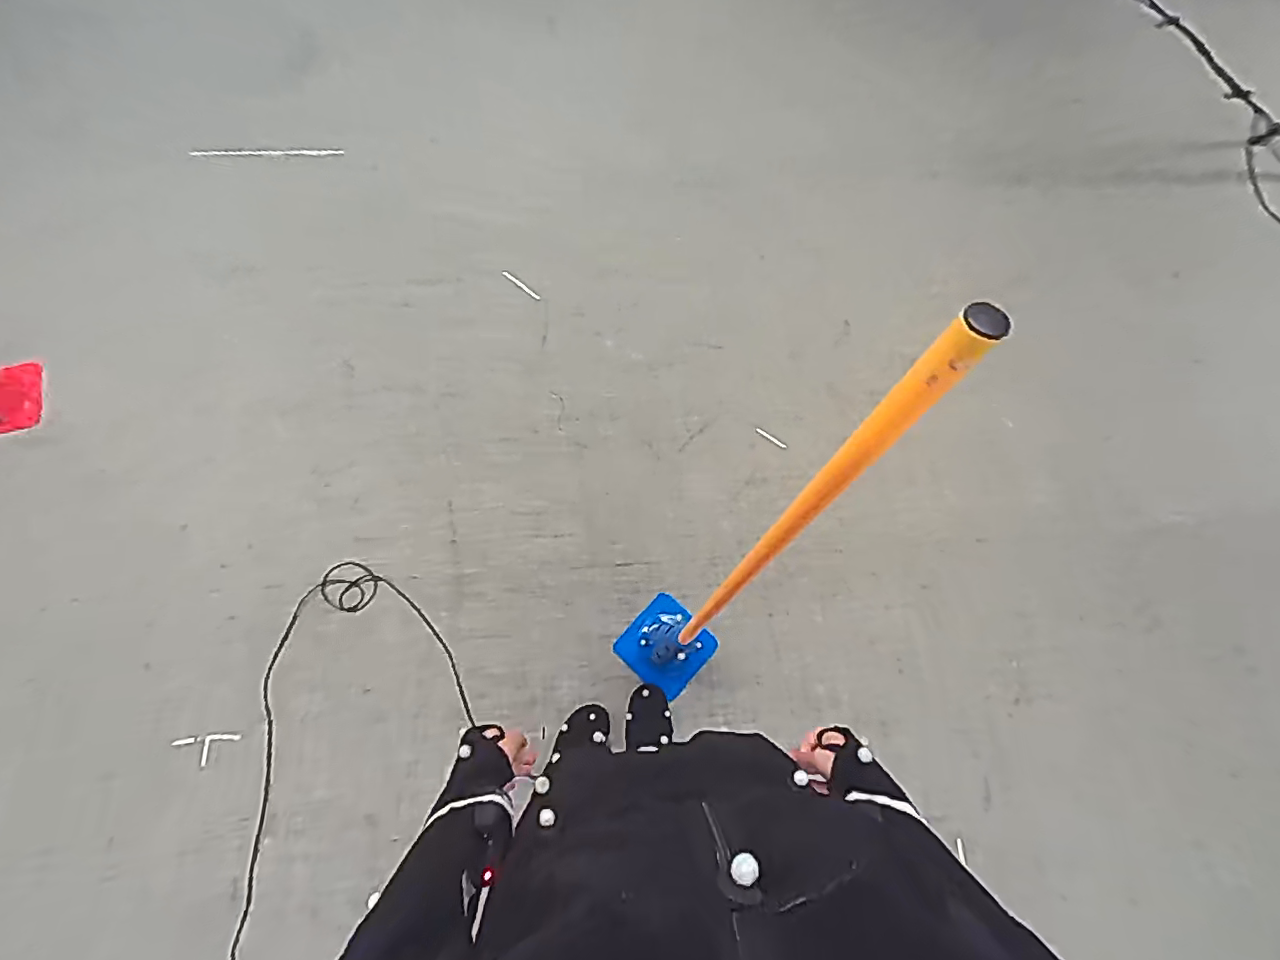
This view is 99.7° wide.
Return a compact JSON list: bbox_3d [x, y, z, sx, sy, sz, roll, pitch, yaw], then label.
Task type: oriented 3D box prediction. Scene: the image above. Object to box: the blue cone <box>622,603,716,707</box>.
[{"bbox_3d":[0.079,0.365,1.161,0.192,0.380,0.193,40,73,10],"label":"blue cone"}]
